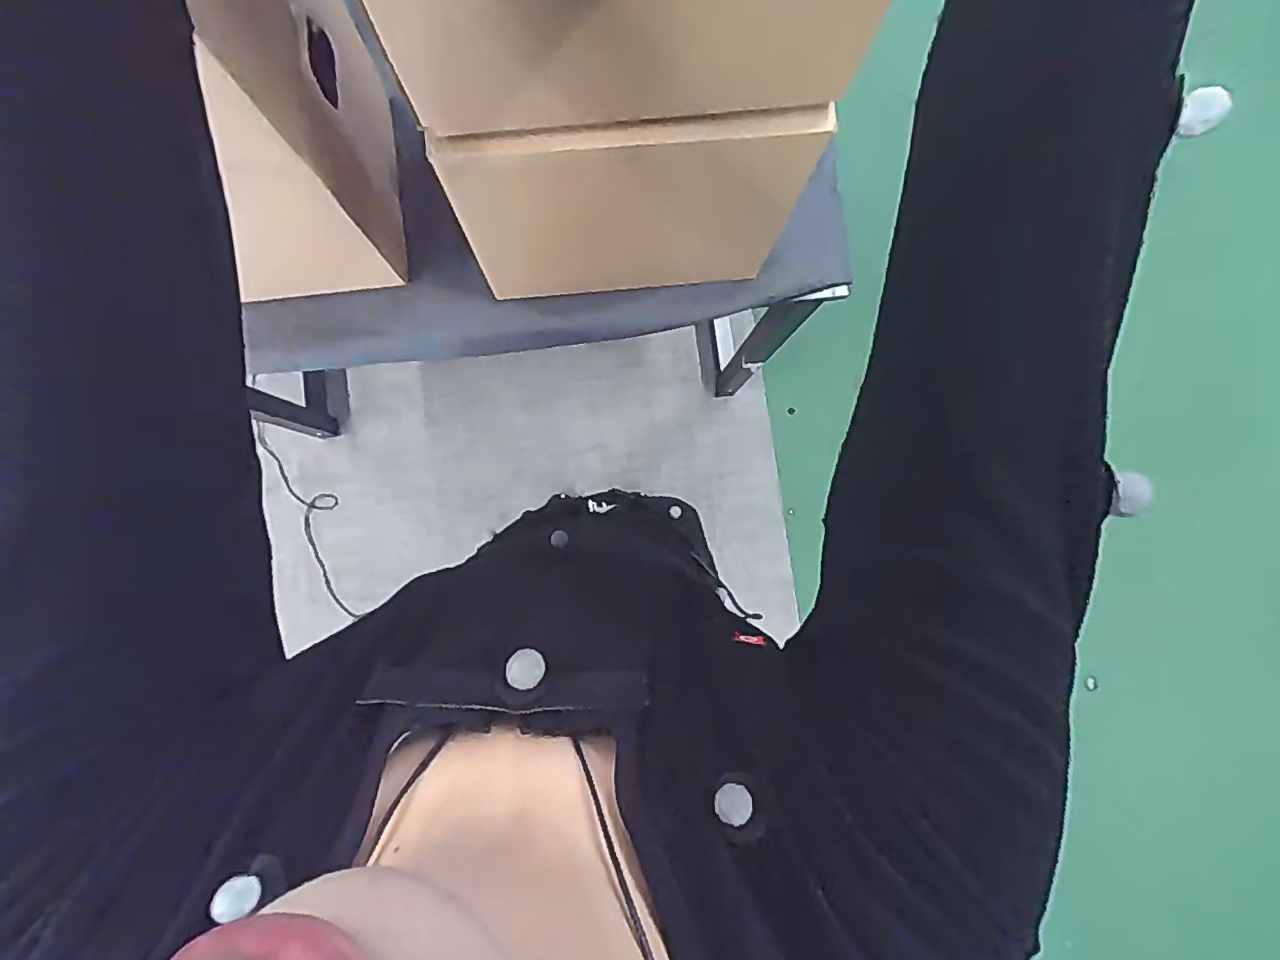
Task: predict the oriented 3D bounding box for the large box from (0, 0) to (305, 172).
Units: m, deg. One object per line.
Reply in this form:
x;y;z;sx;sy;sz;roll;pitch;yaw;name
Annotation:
-0.513;-0.442;0.351;0.408;0.320;0.320;-7;87;-6;large box
